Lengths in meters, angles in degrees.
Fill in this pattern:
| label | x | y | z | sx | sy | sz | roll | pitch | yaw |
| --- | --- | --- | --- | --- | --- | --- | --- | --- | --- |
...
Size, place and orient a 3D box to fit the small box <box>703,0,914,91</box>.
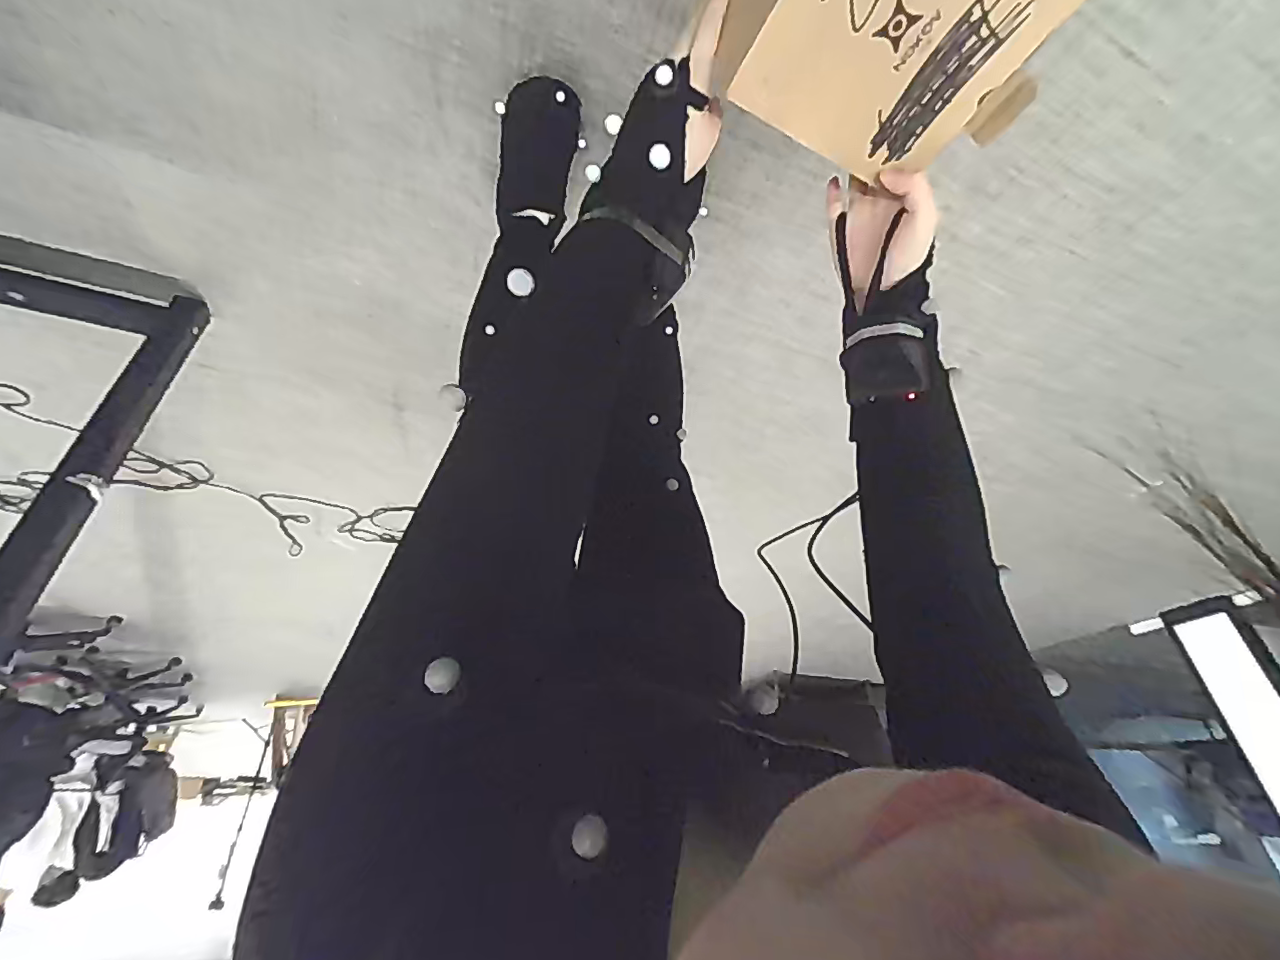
| label | x | y | z | sx | sy | sz | roll | pitch | yaw |
| --- | --- | --- | --- | --- | --- | --- | --- | --- | --- |
| small box | 0.160 | -0.496 | 0.464 | 0.168 | 0.176 | 0.179 | 12 | 144 | -21 |
